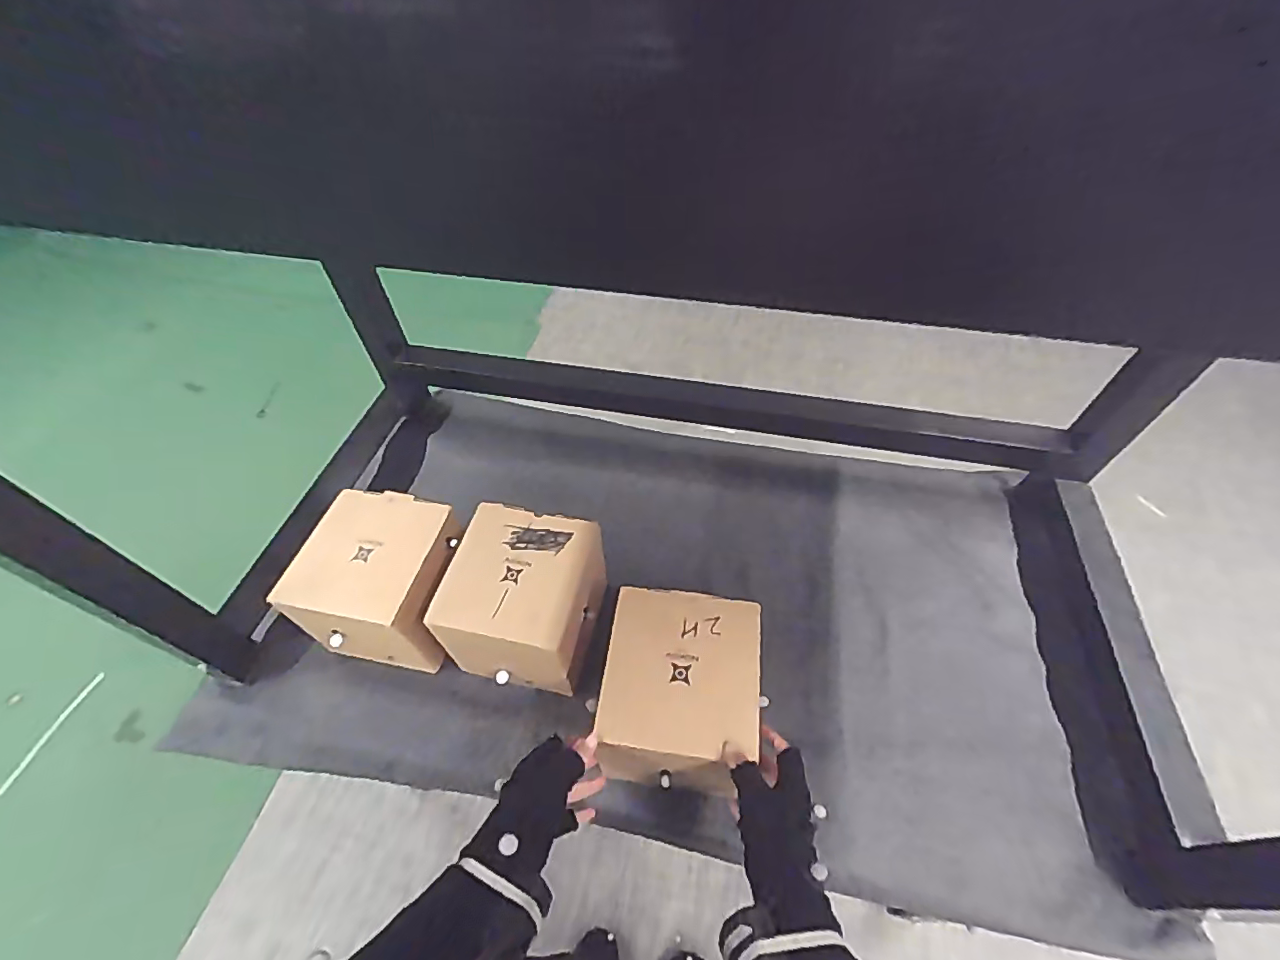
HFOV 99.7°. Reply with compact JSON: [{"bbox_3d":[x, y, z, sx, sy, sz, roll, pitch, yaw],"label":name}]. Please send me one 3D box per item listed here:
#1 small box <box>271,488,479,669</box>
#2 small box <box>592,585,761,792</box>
[{"bbox_3d":[-0.341,0.139,0.742,0.168,0.176,0.179,9,51,8],"label":"small box"},{"bbox_3d":[0.047,0.249,0.638,0.168,0.176,0.179,6,50,6],"label":"small box"}]
